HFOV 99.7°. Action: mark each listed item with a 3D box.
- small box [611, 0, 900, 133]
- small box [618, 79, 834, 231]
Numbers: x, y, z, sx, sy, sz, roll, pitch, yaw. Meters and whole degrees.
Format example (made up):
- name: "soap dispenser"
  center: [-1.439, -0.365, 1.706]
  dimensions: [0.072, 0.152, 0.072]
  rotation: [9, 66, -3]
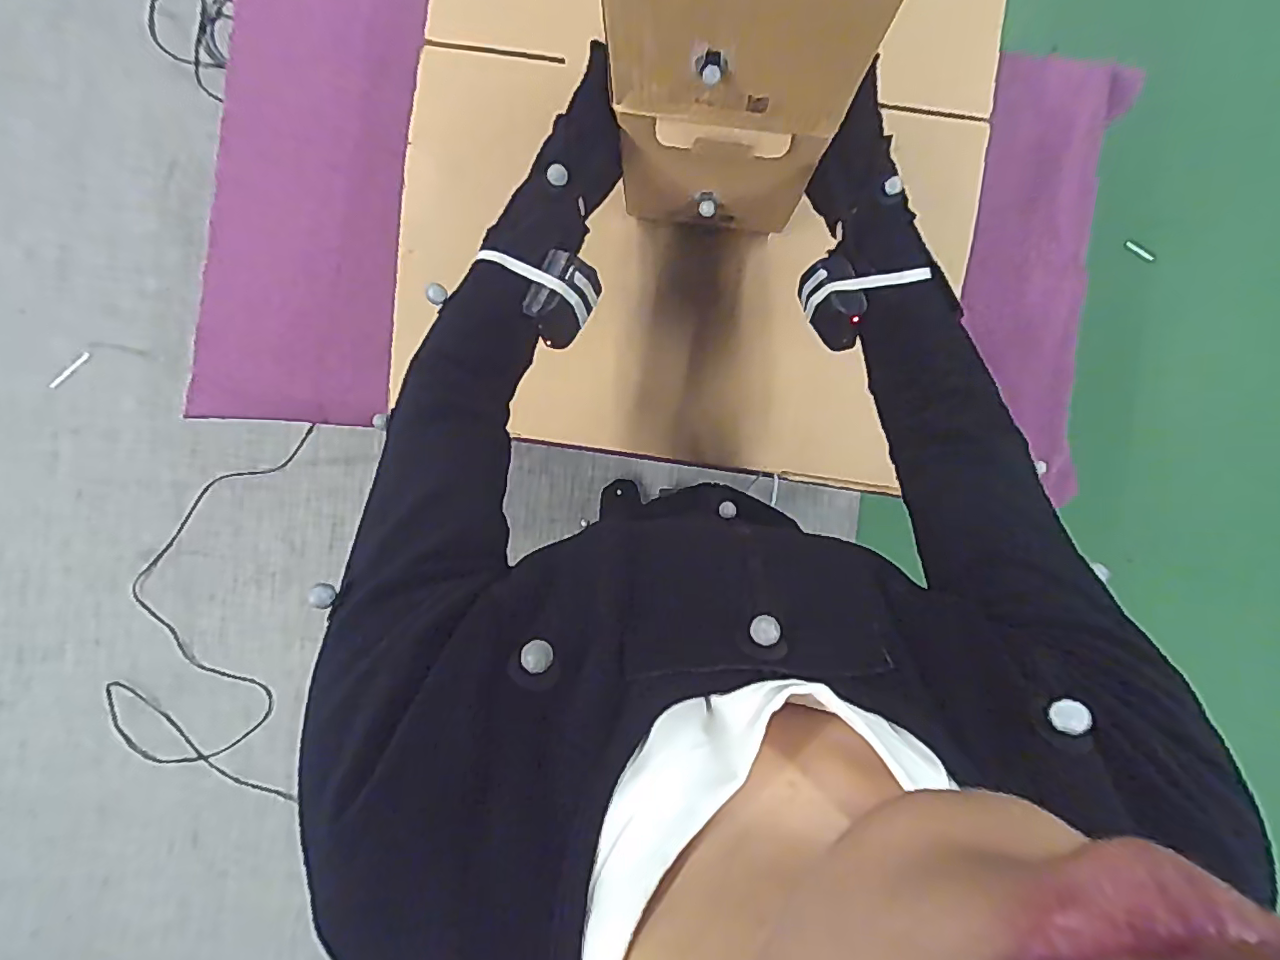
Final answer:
- name: "small box"
  center: [0.072, -0.353, 0.321]
  dimensions: [0.168, 0.176, 0.179]
  rotation: [8, 91, 1]
- name: "small box"
  center: [0.077, -0.355, 0.484]
  dimensions: [0.168, 0.176, 0.179]
  rotation: [8, 91, 2]
